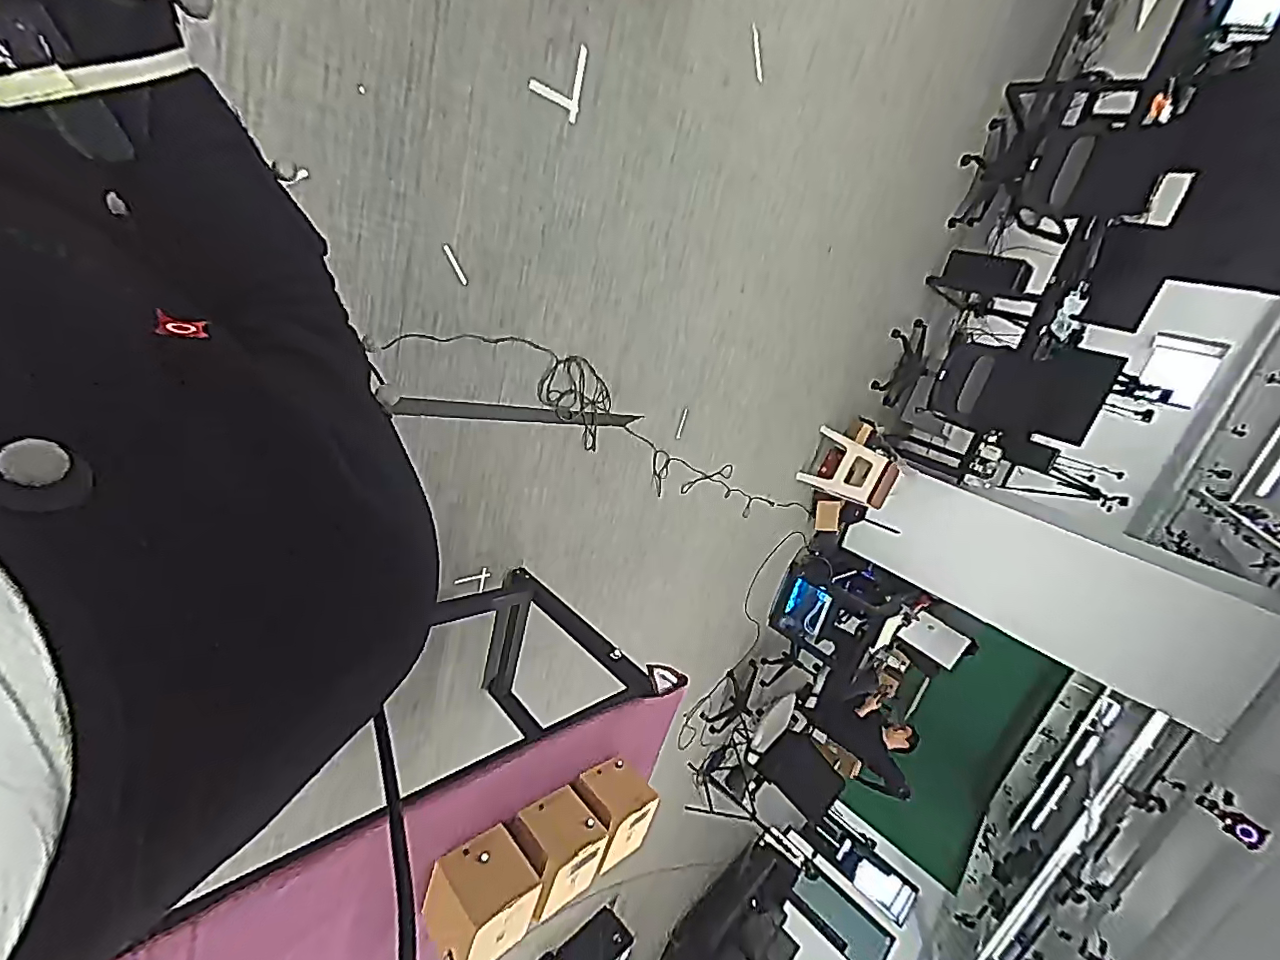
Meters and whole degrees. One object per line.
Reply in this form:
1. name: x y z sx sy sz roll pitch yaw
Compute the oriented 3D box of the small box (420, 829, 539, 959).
1. small box: -0.349 0.906 1.160 0.168 0.176 0.179 -1 114 -51
